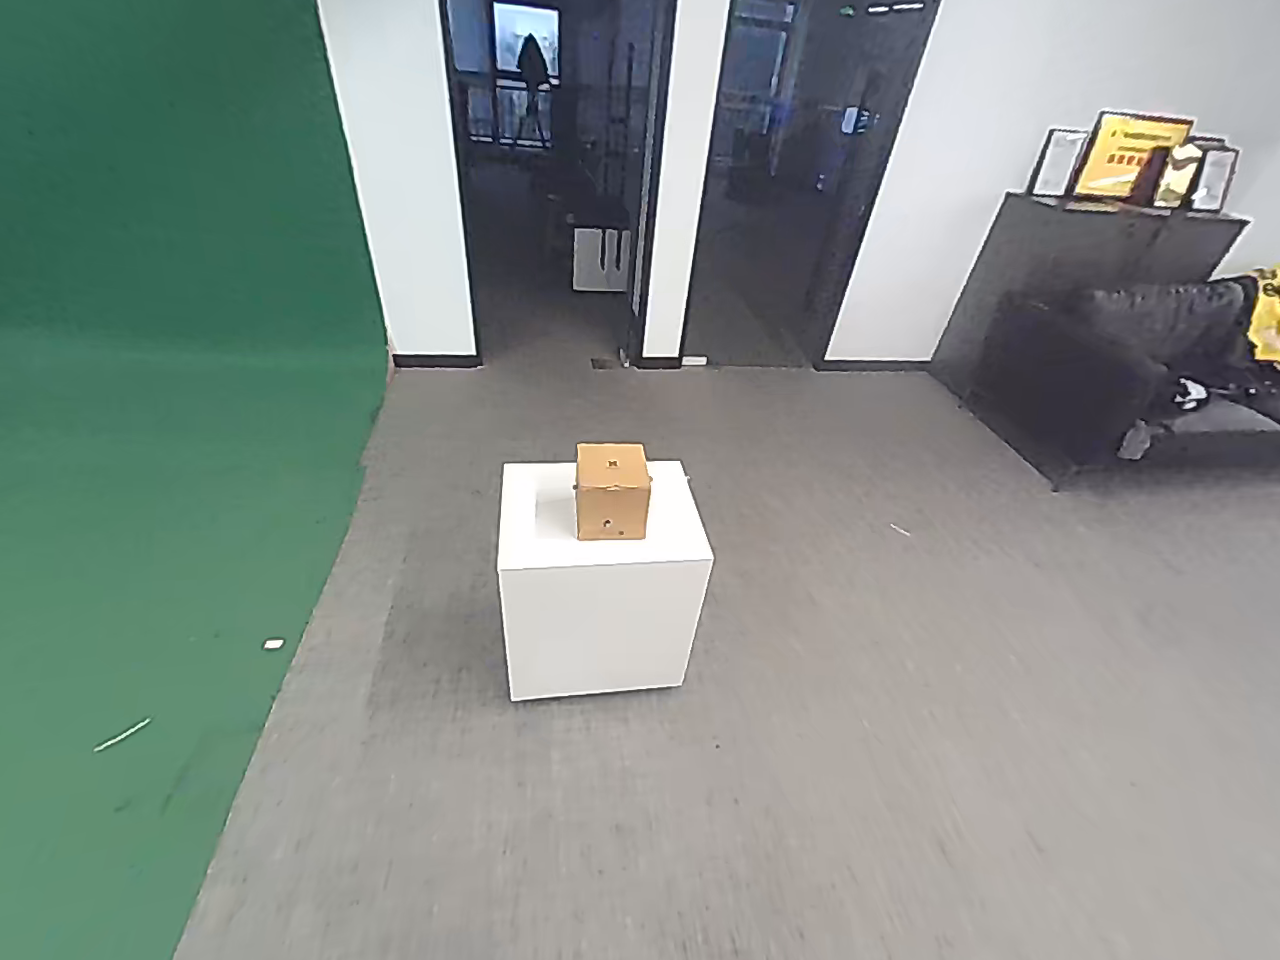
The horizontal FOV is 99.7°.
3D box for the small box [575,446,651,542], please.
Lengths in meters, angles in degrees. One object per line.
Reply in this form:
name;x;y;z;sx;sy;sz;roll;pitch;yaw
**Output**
small box;-0.074;0.034;1.327;0.168;0.176;0.179;-1;38;-9
